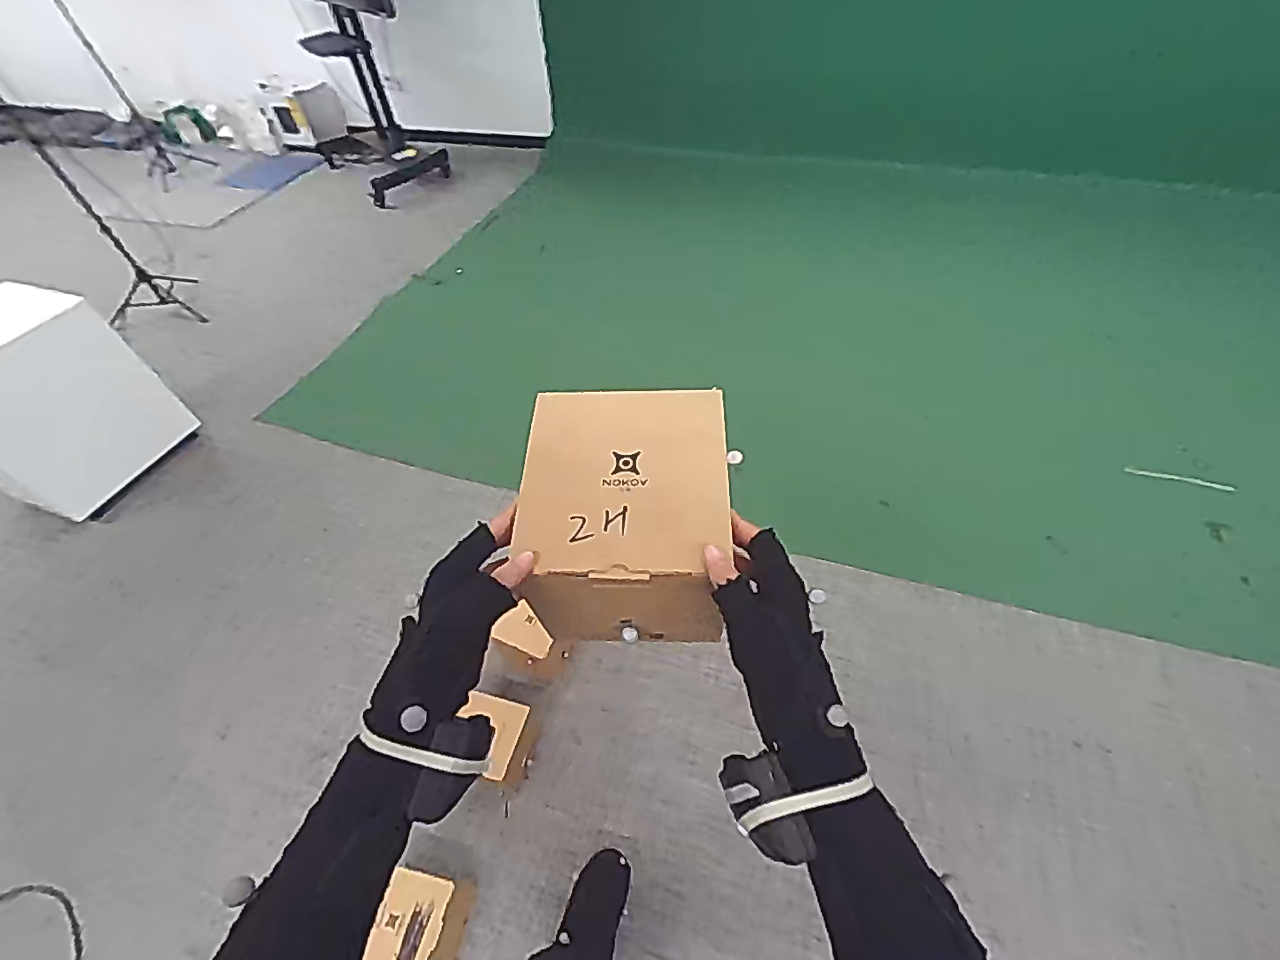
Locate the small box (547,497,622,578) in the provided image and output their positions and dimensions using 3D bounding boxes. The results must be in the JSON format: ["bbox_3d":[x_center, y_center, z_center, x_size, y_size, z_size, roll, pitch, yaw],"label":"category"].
[{"bbox_3d":[-0.163,0.183,1.671,0.179,0.176,0.168,13,52,15],"label":"small box"}]

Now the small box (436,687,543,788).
[{"bbox_3d":[-0.354,0.626,1.308,0.179,0.176,0.168,11,53,10],"label":"small box"}]

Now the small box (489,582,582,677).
[{"bbox_3d":[-0.279,0.414,1.483,0.179,0.176,0.168,17,53,17],"label":"small box"}]
